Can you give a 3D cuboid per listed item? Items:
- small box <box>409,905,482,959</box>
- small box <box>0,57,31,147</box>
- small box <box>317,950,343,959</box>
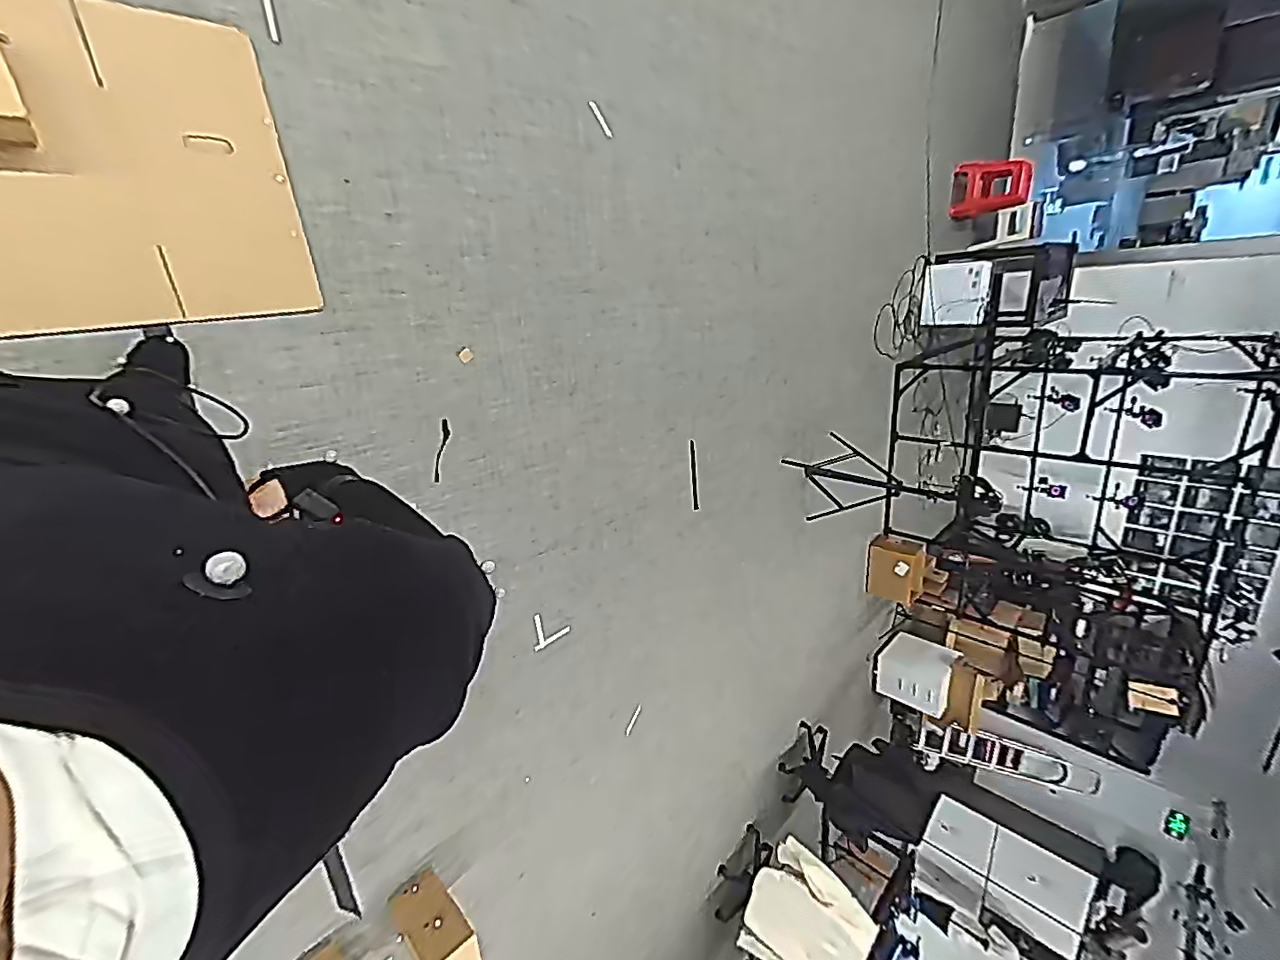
[{"bbox_3d":[-0.642,1.576,1.790,0.168,0.176,0.179,-20,113,-42],"label":"small box"},{"bbox_3d":[-1.172,-0.682,0.900,0.168,0.176,0.179,-23,116,-39],"label":"small box"},{"bbox_3d":[-0.993,1.634,1.688,0.168,0.176,0.179,-24,117,-39],"label":"small box"}]
